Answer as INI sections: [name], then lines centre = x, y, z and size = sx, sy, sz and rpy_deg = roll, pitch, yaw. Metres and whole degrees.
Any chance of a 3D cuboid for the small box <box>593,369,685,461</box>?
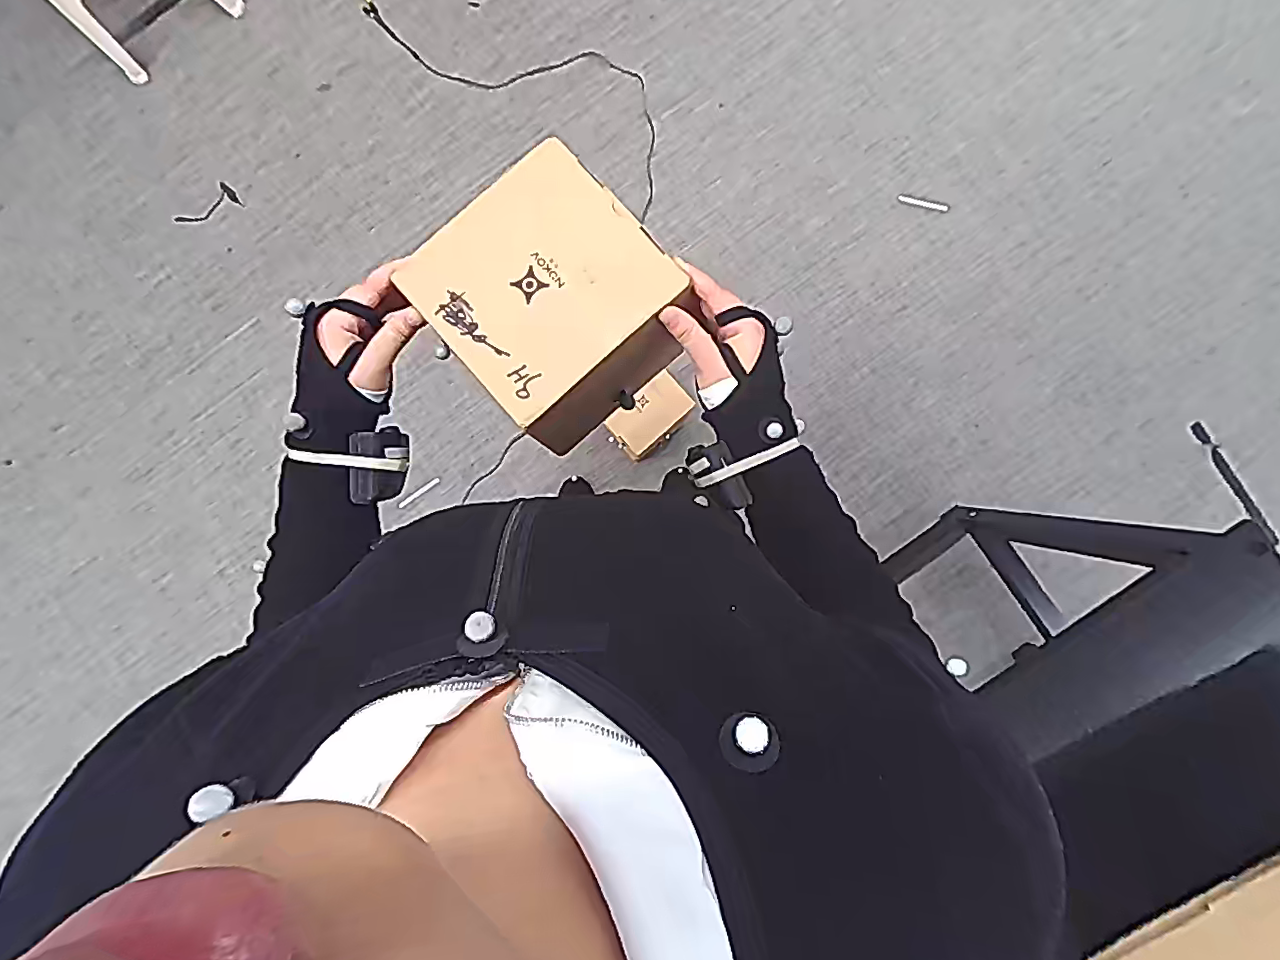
[small box]
centre = -0.002, -0.165, 1.427
size = 0.179, 0.176, 0.168
rpy_deg = -39, 89, 1
